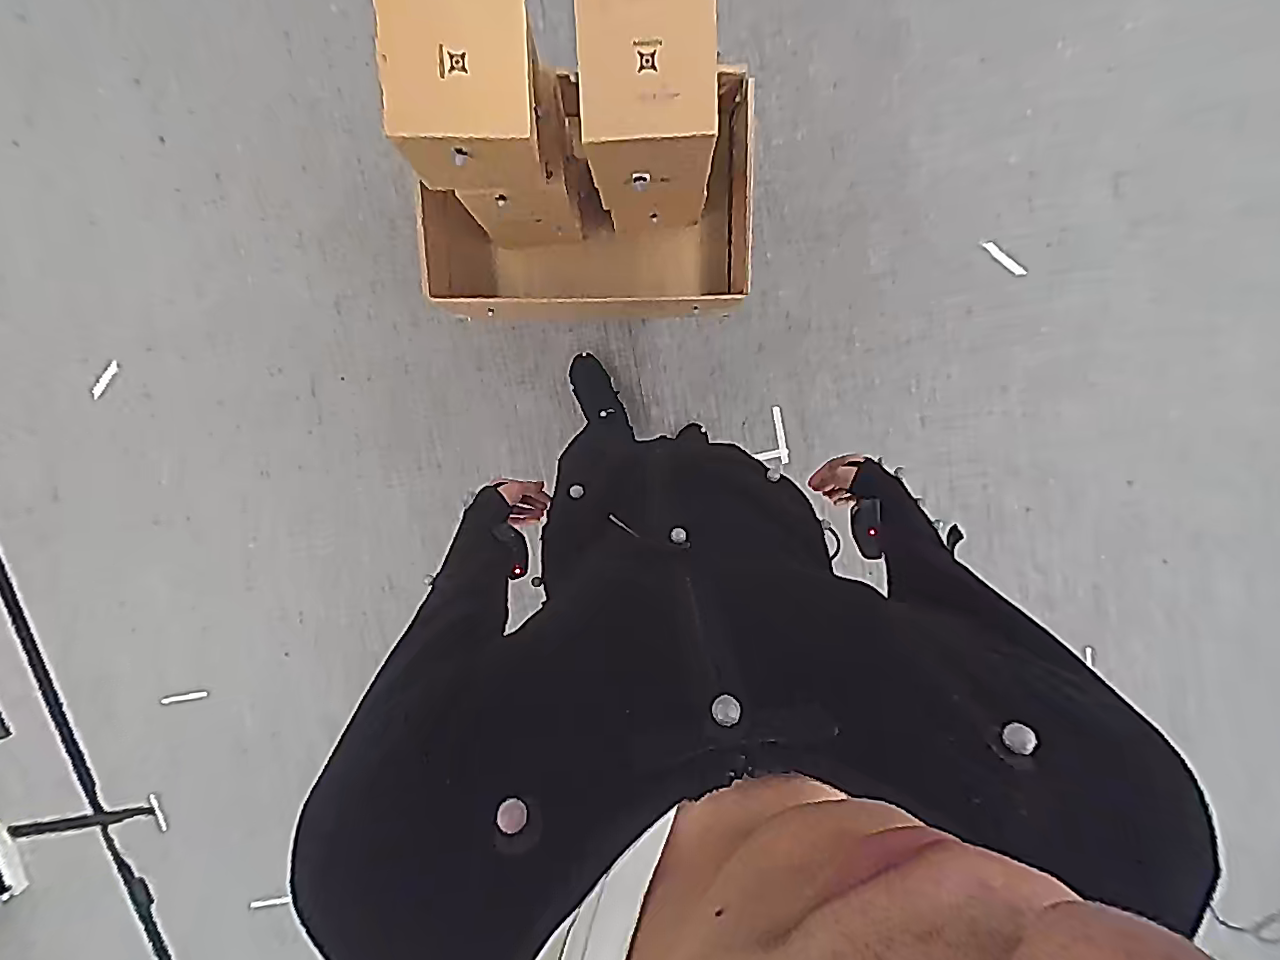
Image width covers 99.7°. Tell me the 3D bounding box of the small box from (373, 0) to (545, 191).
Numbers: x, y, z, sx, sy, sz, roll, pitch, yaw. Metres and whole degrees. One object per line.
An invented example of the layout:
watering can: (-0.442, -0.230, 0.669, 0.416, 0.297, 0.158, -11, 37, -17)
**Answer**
small box: (-0.220, -0.495, 0.708, 0.179, 0.176, 0.168, -1, 99, -2)

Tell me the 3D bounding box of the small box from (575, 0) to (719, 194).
small box: (0.010, -0.501, 0.708, 0.168, 0.176, 0.179, -3, 99, 2)
